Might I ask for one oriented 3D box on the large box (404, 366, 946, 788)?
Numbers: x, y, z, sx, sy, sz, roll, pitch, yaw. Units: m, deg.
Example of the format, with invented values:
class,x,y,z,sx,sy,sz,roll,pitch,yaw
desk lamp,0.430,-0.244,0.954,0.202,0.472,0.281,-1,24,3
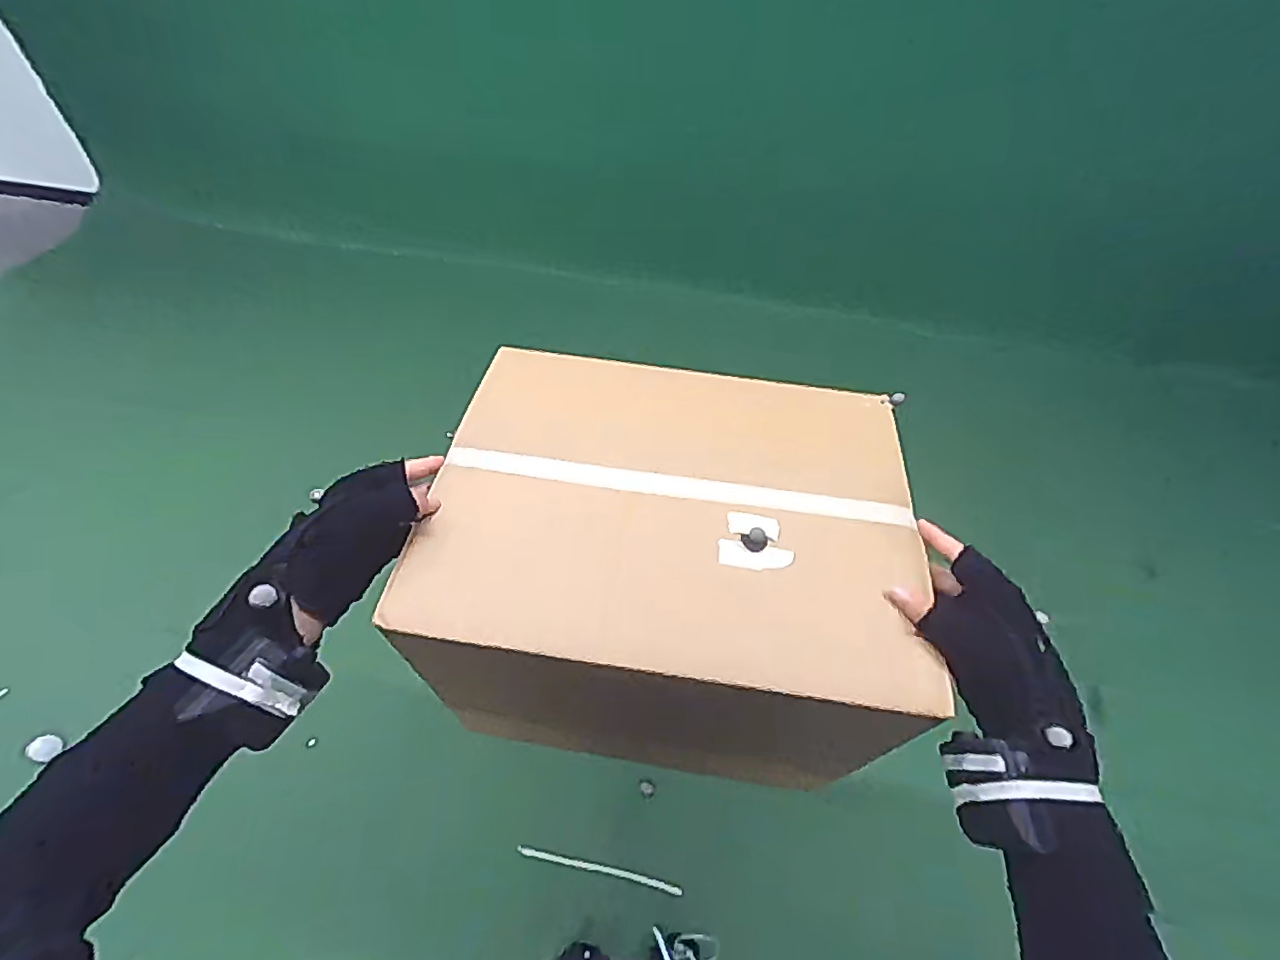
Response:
class,x,y,z,sx,sy,sz,roll,pitch,yaw
large box,0.030,0.112,0.595,0.408,0.320,0.320,9,52,3
